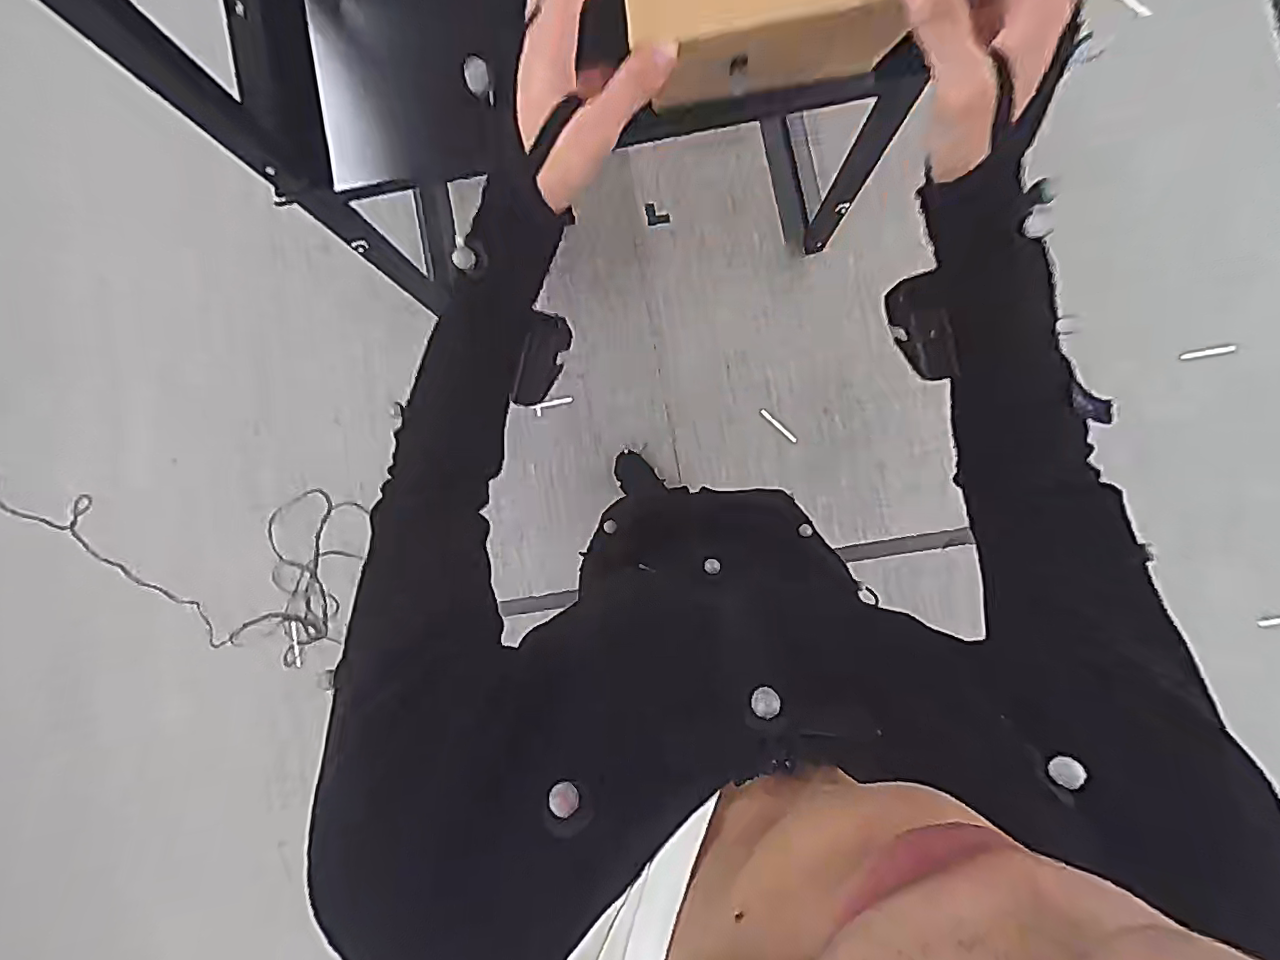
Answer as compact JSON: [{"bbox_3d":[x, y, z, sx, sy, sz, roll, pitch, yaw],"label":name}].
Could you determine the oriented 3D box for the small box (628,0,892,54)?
[{"bbox_3d":[0.071,-0.356,0.284,0.168,0.176,0.179,-4,115,9],"label":"small box"}]
